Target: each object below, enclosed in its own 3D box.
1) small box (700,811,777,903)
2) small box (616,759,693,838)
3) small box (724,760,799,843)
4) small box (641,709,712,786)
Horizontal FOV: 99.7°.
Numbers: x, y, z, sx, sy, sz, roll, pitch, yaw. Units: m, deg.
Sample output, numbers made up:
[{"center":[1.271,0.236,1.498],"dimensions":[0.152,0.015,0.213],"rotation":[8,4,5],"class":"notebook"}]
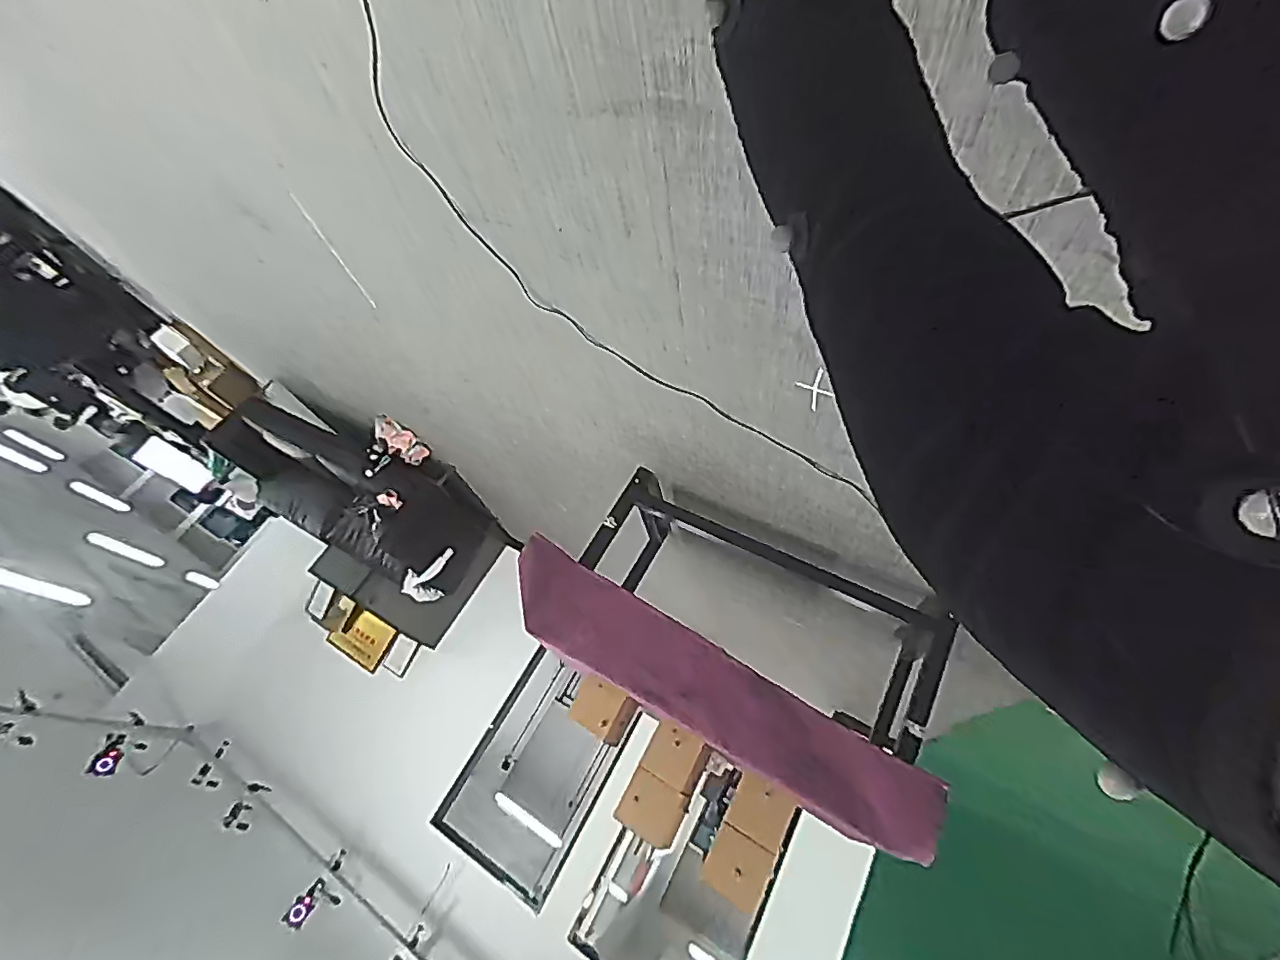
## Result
[{"center":[0.302,1.138,1.650],"dimensions":[0.179,0.176,0.168],"rotation":[21,156,23],"class":"small box"},{"center":[0.052,1.033,1.767],"dimensions":[0.179,0.176,0.168],"rotation":[20,157,27],"class":"small box"},{"center":[0.384,1.008,1.710],"dimensions":[0.179,0.176,0.168],"rotation":[22,157,24],"class":"small box"},{"center":[0.130,0.904,1.830],"dimensions":[0.168,0.176,0.179],"rotation":[19,155,28],"class":"small box"}]
